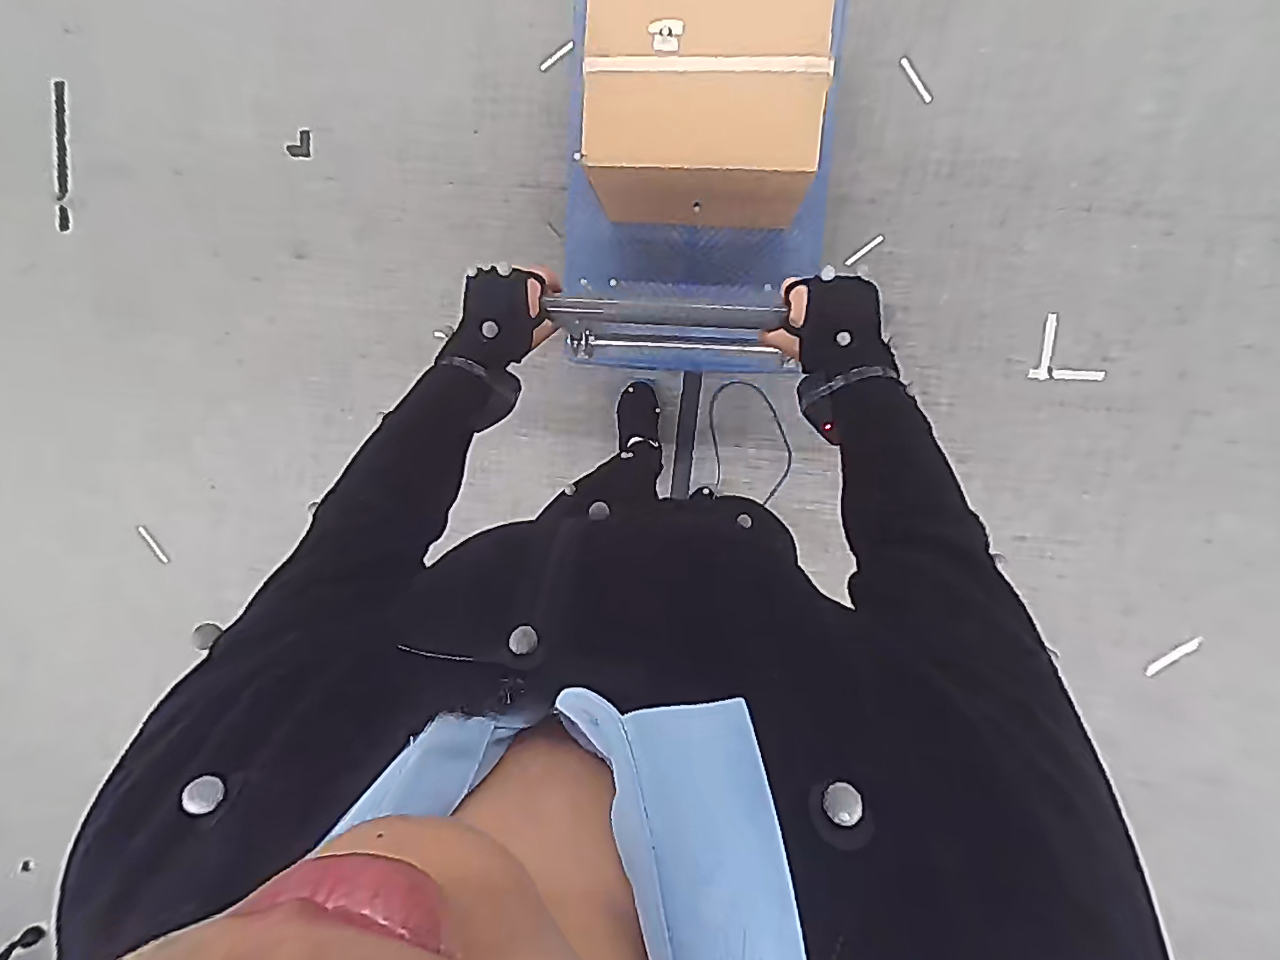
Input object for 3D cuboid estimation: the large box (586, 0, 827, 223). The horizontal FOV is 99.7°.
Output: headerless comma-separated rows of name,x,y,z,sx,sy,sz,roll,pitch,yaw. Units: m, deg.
large box,0.125,-0.714,1.066,0.408,0.320,0.320,4,98,6
